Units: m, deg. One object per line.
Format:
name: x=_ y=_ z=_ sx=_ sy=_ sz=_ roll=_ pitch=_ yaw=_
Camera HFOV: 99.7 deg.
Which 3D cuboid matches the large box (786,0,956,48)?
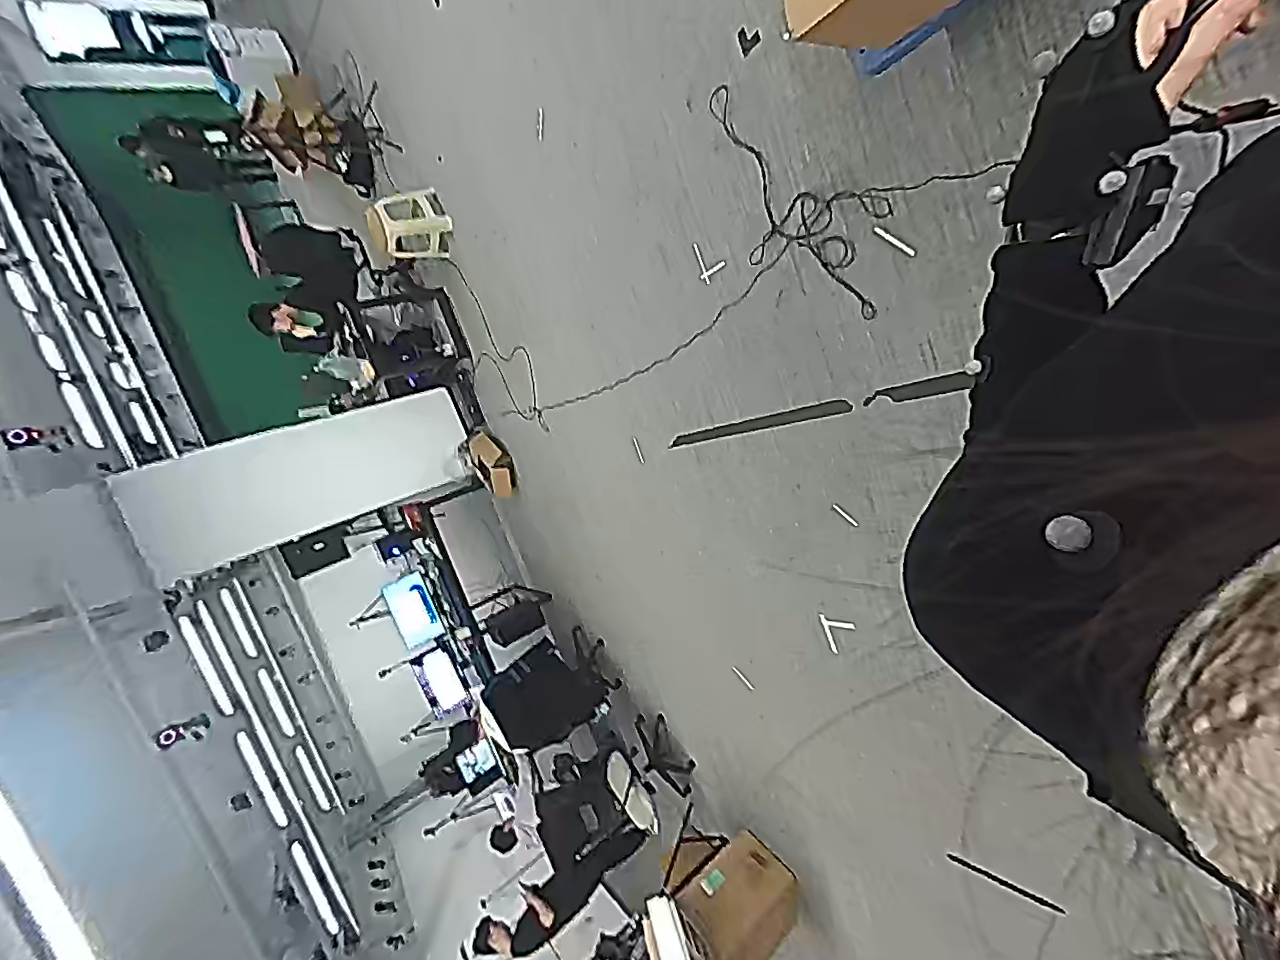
large box: x=0.474 y=-1.004 z=0.884 sx=0.408 sy=0.320 sz=0.320 roll=4 pitch=112 yaw=56
